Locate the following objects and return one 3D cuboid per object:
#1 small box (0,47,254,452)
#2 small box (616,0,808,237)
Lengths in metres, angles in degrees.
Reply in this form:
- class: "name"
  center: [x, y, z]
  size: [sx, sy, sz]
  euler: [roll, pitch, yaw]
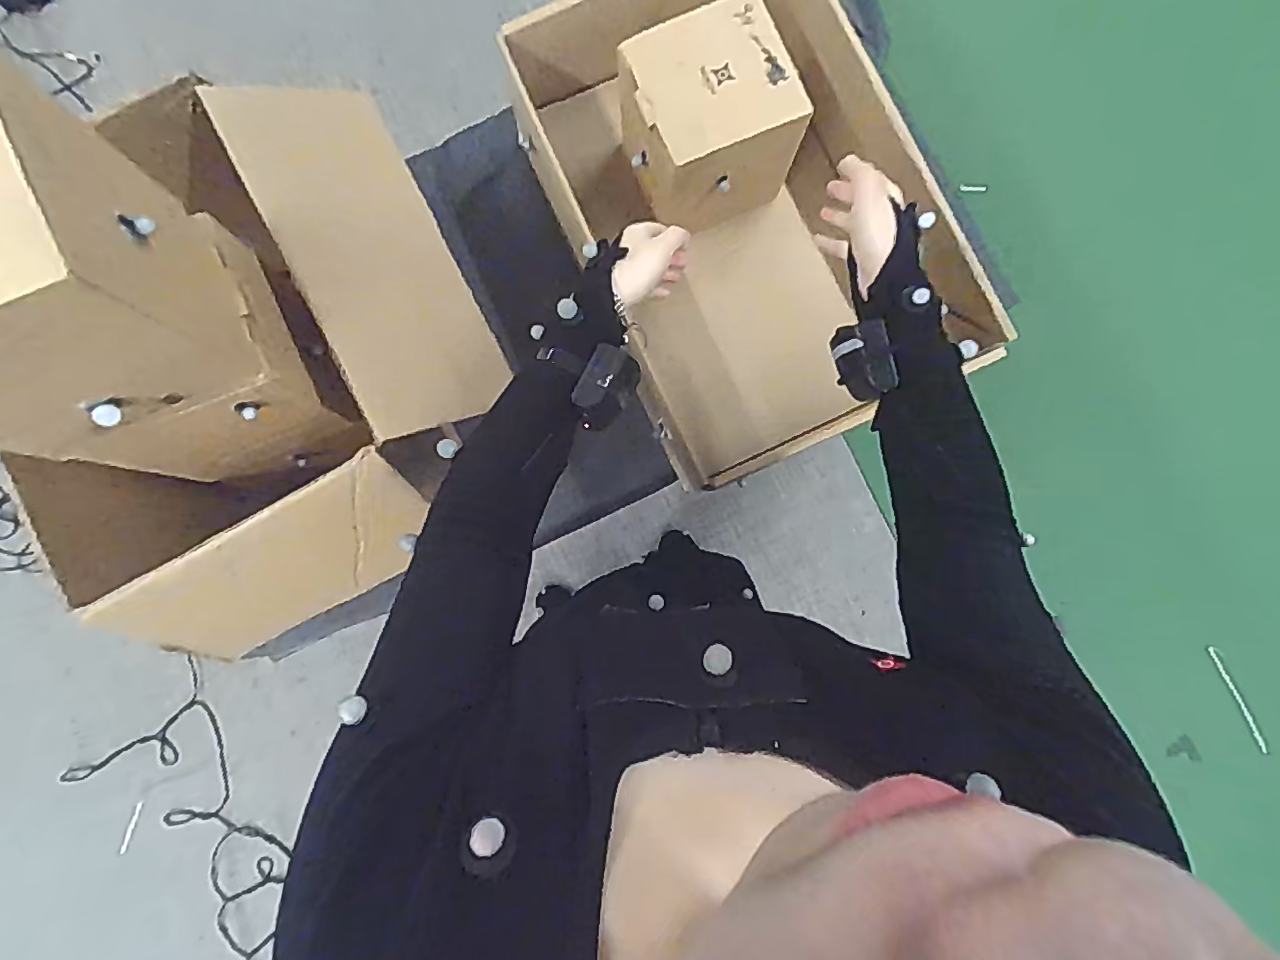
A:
- class: "small box"
  center: [-0.422, -0.139, 0.373]
  size: [0.168, 0.176, 0.179]
  euler: [-27, 85, -7]
- class: "small box"
  center: [0.084, -0.448, 0.694]
  size: [0.179, 0.176, 0.168]
  euler: [-23, 87, 0]
